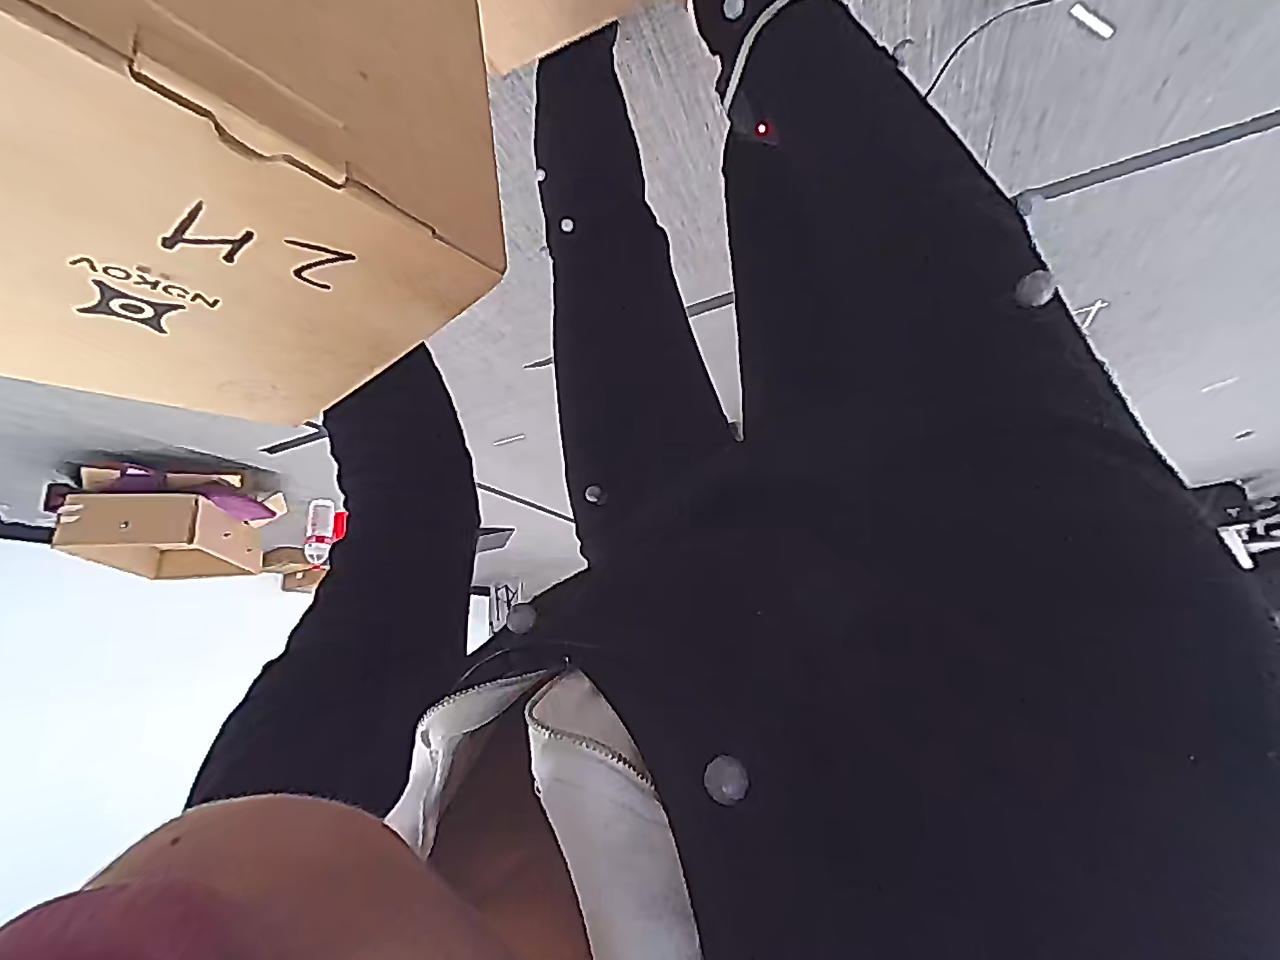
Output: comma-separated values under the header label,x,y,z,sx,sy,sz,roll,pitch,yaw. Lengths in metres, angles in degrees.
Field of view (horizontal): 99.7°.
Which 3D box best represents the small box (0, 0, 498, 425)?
label,x,y,z,sx,sy,sz,roll,pitch,yaw
small box,-0.178,-0.142,0.206,0.179,0.176,0.168,-20,162,32
